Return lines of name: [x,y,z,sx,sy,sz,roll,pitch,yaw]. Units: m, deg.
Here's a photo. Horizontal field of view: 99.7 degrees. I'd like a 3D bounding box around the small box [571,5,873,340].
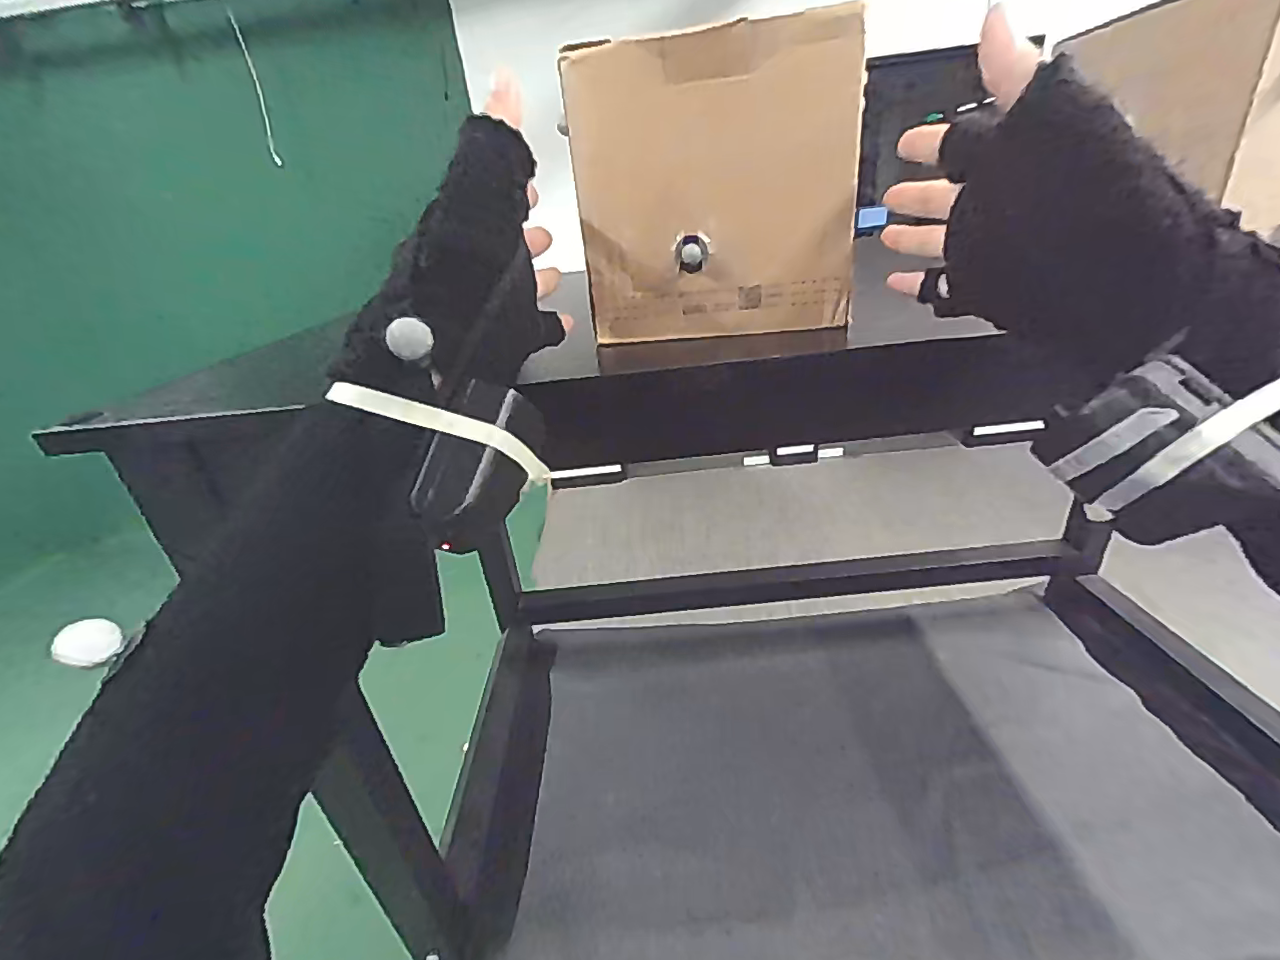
small box: [0.058,-0.205,0.399,0.168,0.176,0.179,-2,27,9]
